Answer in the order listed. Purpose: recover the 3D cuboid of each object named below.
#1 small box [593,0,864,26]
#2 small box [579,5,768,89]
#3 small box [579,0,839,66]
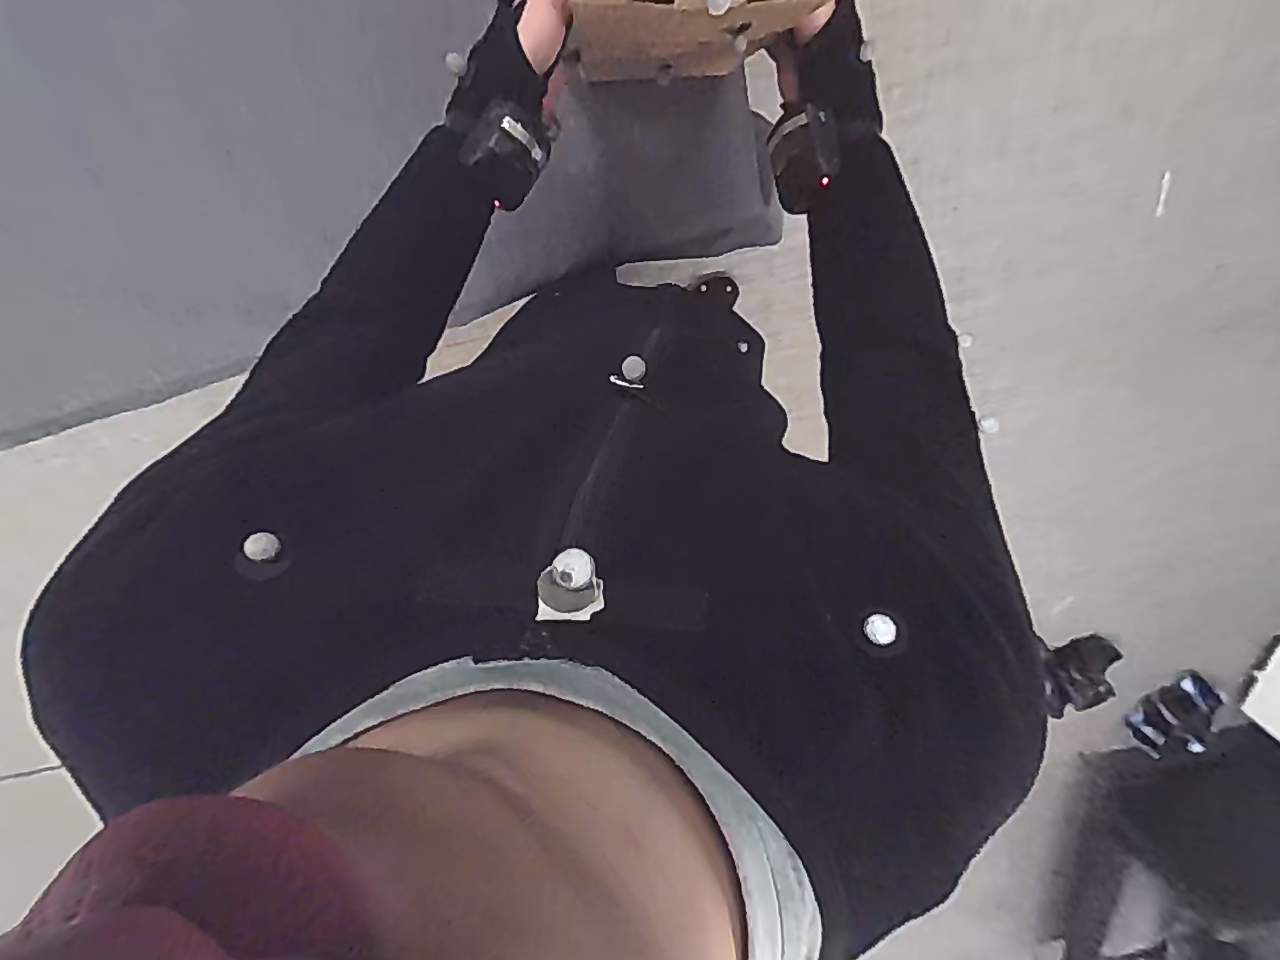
[{"bbox_3d":[0.051,-0.316,0.220,0.168,0.176,0.179,-5,121,-3],"label":"small box"},{"bbox_3d":[0.025,-0.478,0.504,0.168,0.176,0.179,-5,121,-2],"label":"small box"},{"bbox_3d":[0.037,-0.397,0.363,0.168,0.176,0.179,-5,119,-3],"label":"small box"}]
